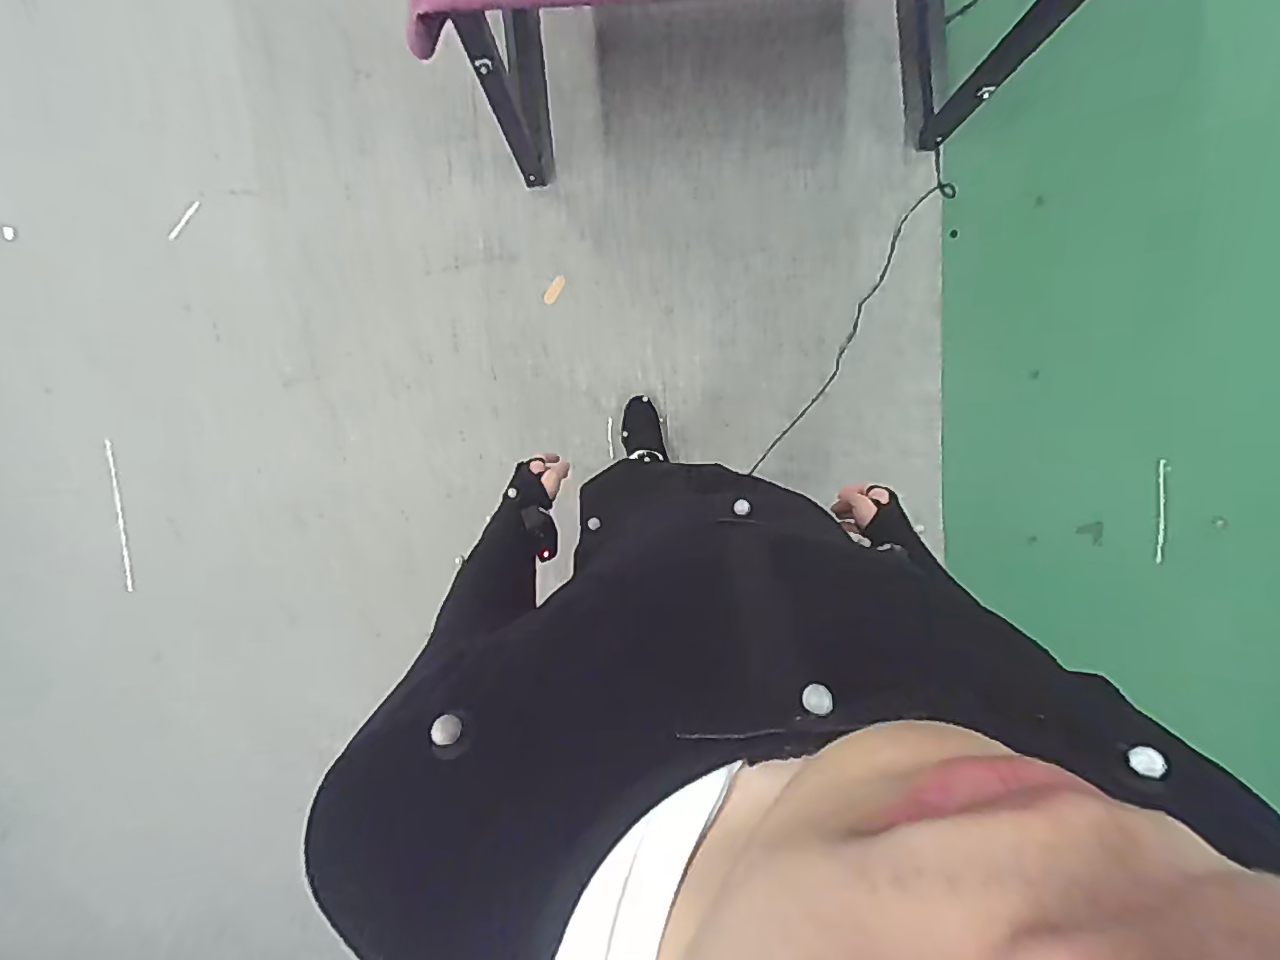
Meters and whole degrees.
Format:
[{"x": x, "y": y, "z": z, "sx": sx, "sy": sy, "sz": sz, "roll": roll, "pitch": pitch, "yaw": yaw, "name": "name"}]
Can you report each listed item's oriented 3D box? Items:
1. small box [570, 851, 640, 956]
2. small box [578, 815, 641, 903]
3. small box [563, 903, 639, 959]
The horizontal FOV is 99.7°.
[{"x": -0.089, "y": 1.141, "z": 1.459, "sx": 0.179, "sy": 0.176, "sz": 0.168, "roll": -3, "pitch": 93, "yaw": -1, "name": "small box"}, {"x": -0.089, "y": 1.137, "z": 1.620, "sx": 0.179, "sy": 0.176, "sz": 0.168, "roll": -2, "pitch": 94, "yaw": 0, "name": "small box"}, {"x": -0.089, "y": 1.157, "z": 1.295, "sx": 0.179, "sy": 0.176, "sz": 0.168, "roll": -3, "pitch": 93, "yaw": 0, "name": "small box"}]
